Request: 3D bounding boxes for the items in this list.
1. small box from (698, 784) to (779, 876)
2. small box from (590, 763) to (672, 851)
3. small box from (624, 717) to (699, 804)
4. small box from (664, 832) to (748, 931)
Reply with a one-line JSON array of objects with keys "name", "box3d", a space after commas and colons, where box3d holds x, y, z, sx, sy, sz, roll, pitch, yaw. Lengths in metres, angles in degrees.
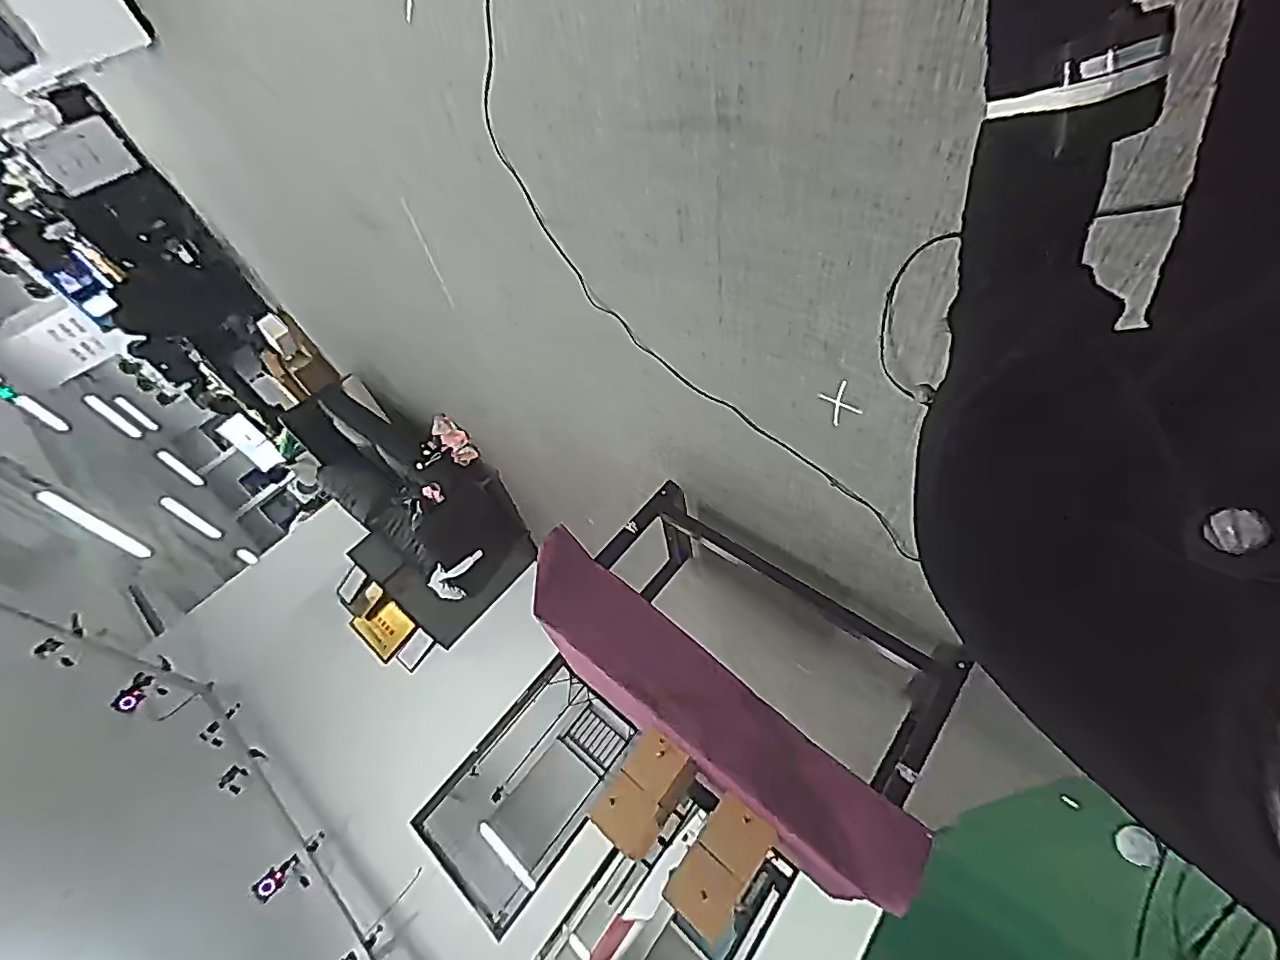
[{"name": "small box", "box3d": [0.302, 1.058, 1.647, 0.179, 0.176, 0.168, 30, 154, 31]}, {"name": "small box", "box3d": [-0.025, 1.038, 1.732, 0.179, 0.176, 0.168, 27, 153, 33]}, {"name": "small box", "box3d": [0.078, 0.930, 1.799, 0.168, 0.176, 0.179, 26, 151, 35]}, {"name": "small box", "box3d": [0.196, 1.167, 1.584, 0.179, 0.176, 0.168, 29, 153, 30]}]
